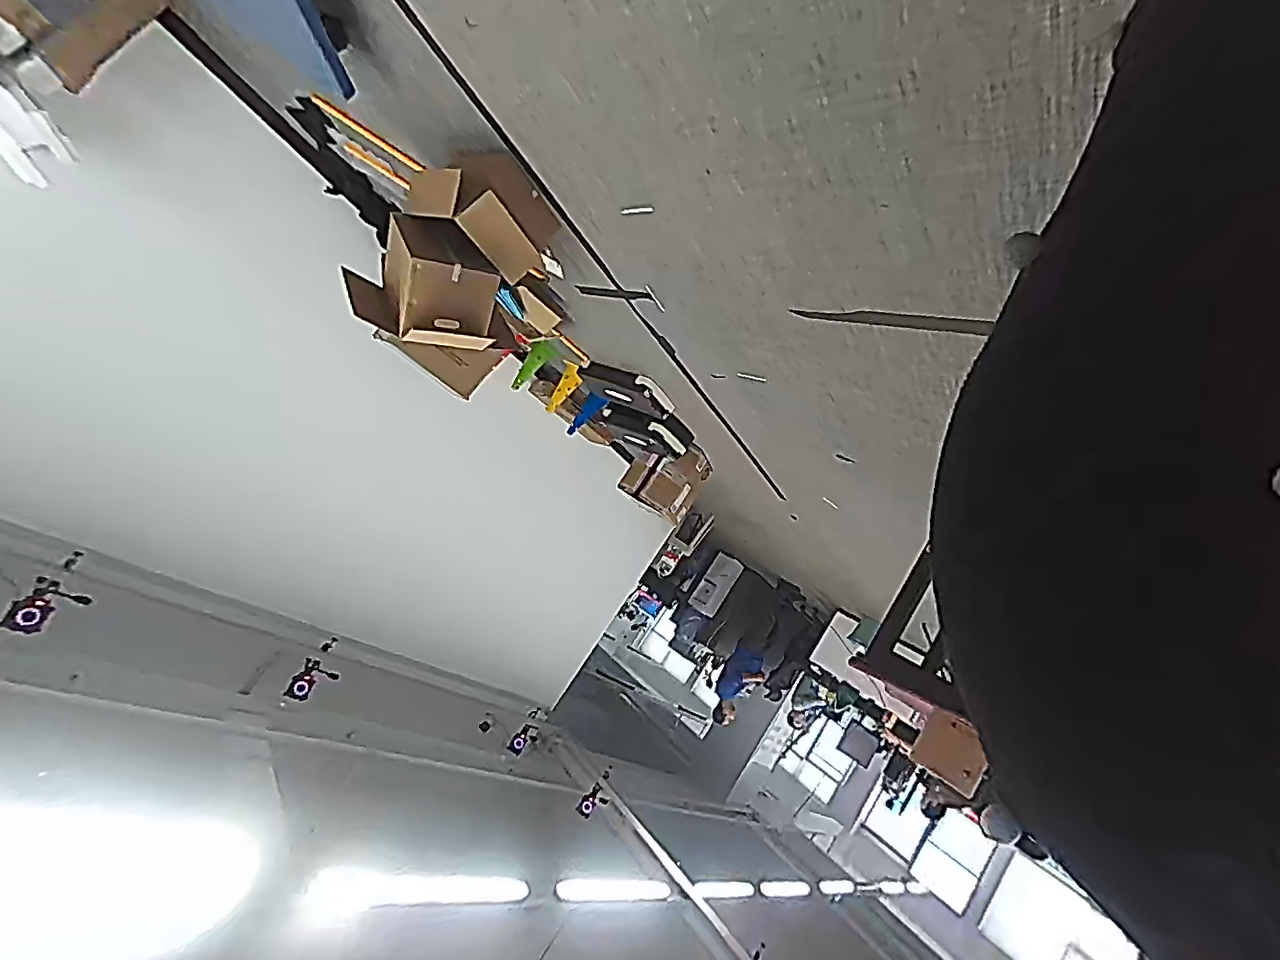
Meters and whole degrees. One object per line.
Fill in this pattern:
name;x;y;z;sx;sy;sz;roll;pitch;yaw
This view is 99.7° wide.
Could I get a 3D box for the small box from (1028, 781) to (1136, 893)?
small box;1.113;0.897;1.366;0.168;0.176;0.179;26;167;45
